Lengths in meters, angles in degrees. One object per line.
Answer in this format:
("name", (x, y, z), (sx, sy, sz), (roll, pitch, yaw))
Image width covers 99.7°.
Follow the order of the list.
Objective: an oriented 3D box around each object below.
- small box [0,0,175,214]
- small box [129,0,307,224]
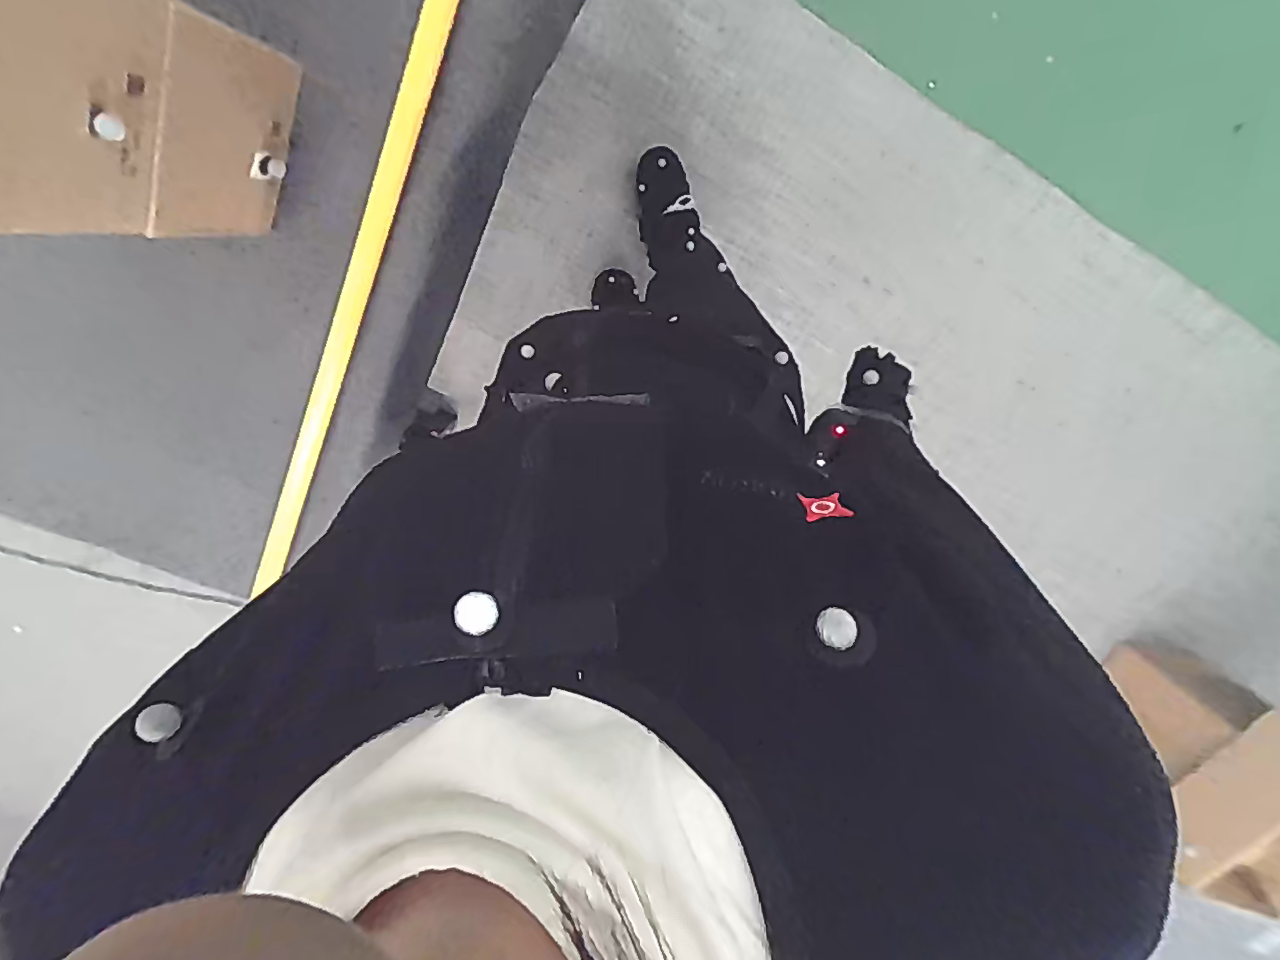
("small box", (-0.431, -0.269, 0.311), (0.179, 0.176, 0.168), (24, 113, -11))
("small box", (-0.430, -0.337, 0.462), (0.179, 0.176, 0.168), (22, 114, -11))
